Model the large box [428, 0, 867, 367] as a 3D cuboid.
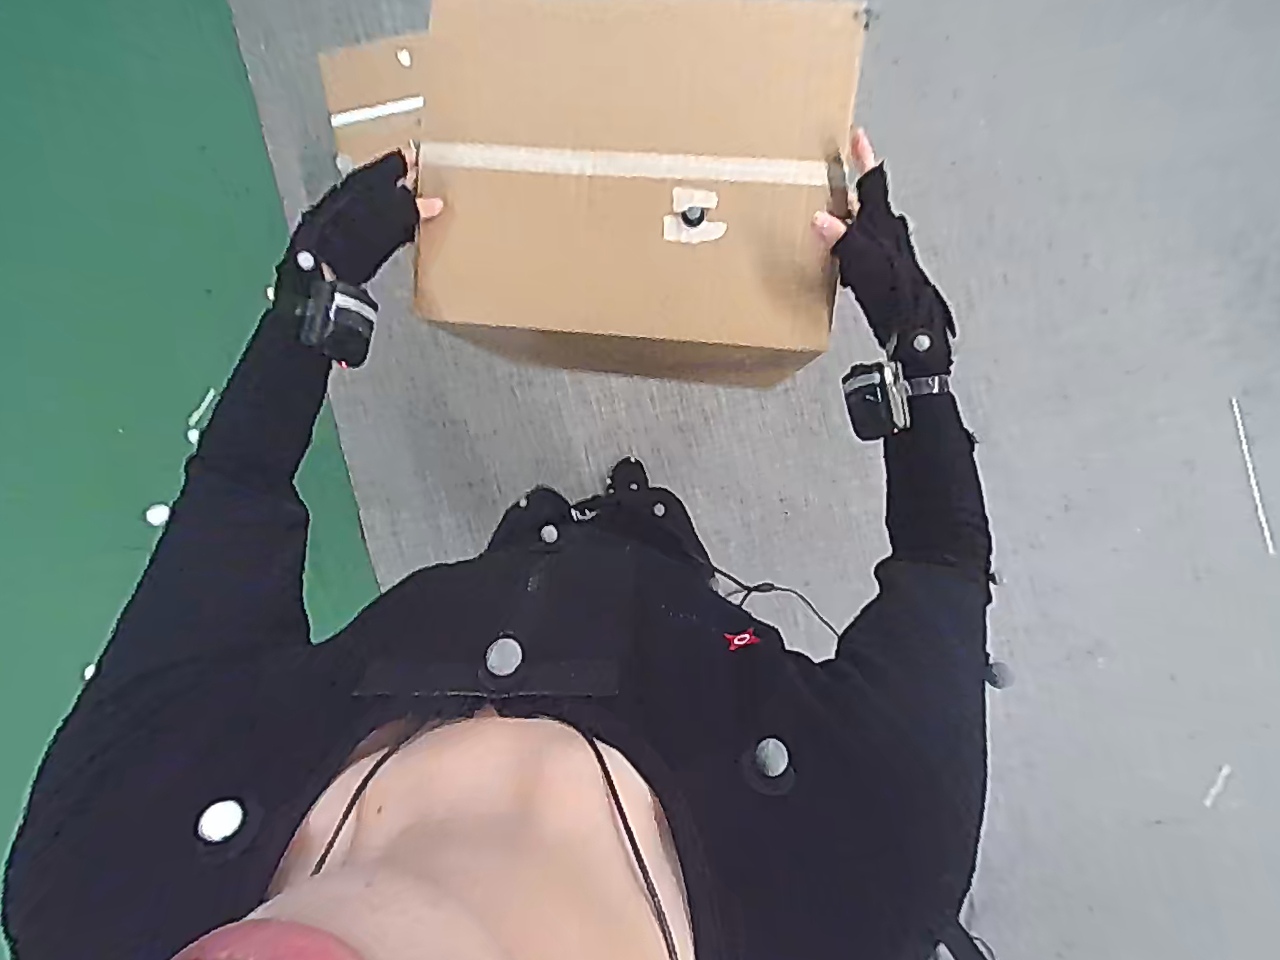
[{"bbox_3d":[0.005,-0.324,0.660,0.408,0.320,0.320,6,96,3],"label":"large box"}]
